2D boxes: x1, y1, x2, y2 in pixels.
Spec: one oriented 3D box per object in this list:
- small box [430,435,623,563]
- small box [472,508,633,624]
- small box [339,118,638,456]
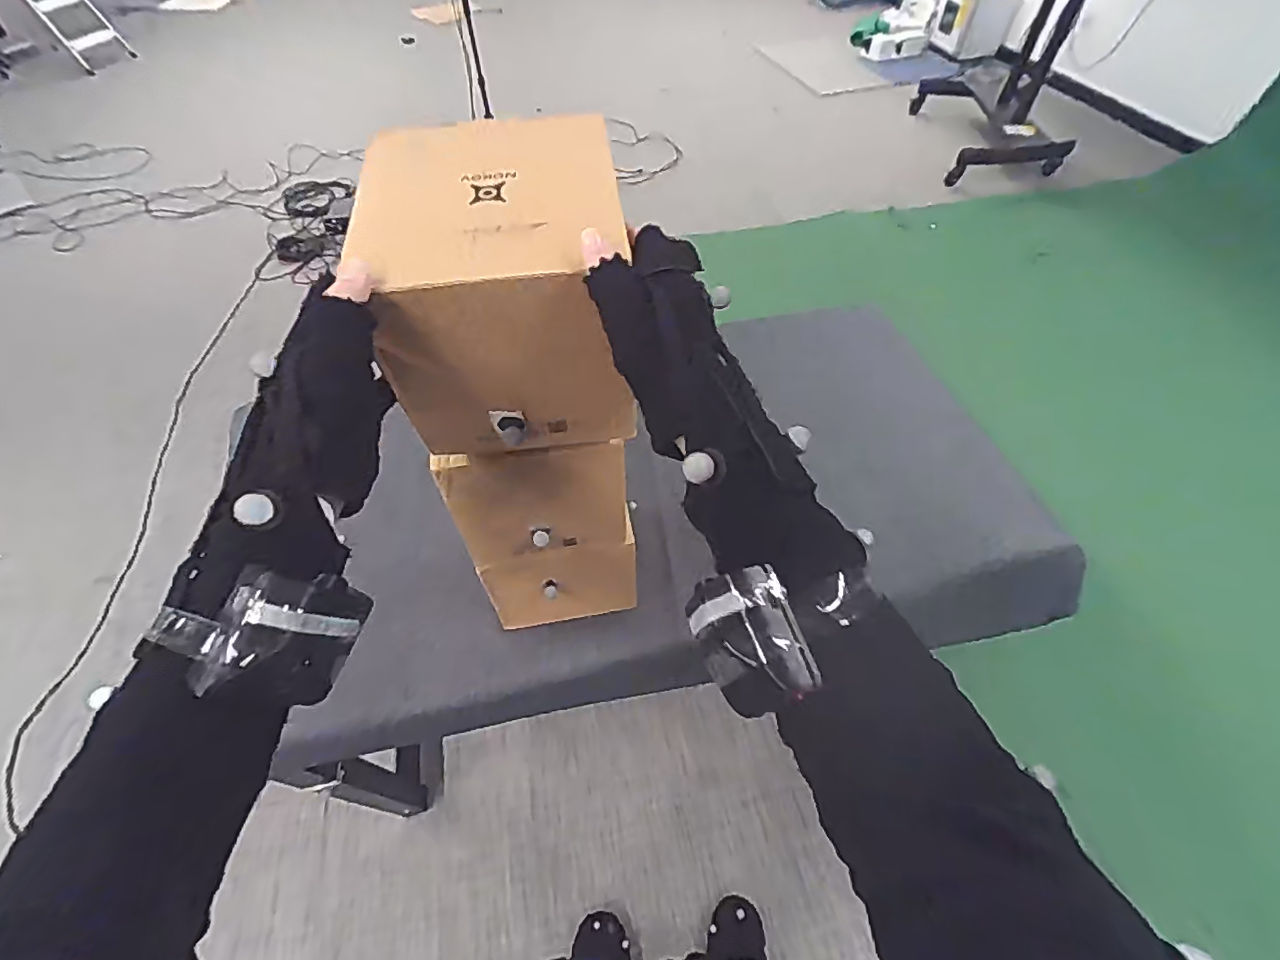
[{"bbox_3d":[-0.111,-0.036,0.575,0.168,0.176,0.179,-8,53,-6],"label":"small box"},{"bbox_3d":[-0.108,0.071,0.701,0.179,0.176,0.168,-8,53,-6],"label":"small box"},{"bbox_3d":[-0.092,-0.139,0.409,0.168,0.176,0.179,-5,60,-3],"label":"small box"}]
